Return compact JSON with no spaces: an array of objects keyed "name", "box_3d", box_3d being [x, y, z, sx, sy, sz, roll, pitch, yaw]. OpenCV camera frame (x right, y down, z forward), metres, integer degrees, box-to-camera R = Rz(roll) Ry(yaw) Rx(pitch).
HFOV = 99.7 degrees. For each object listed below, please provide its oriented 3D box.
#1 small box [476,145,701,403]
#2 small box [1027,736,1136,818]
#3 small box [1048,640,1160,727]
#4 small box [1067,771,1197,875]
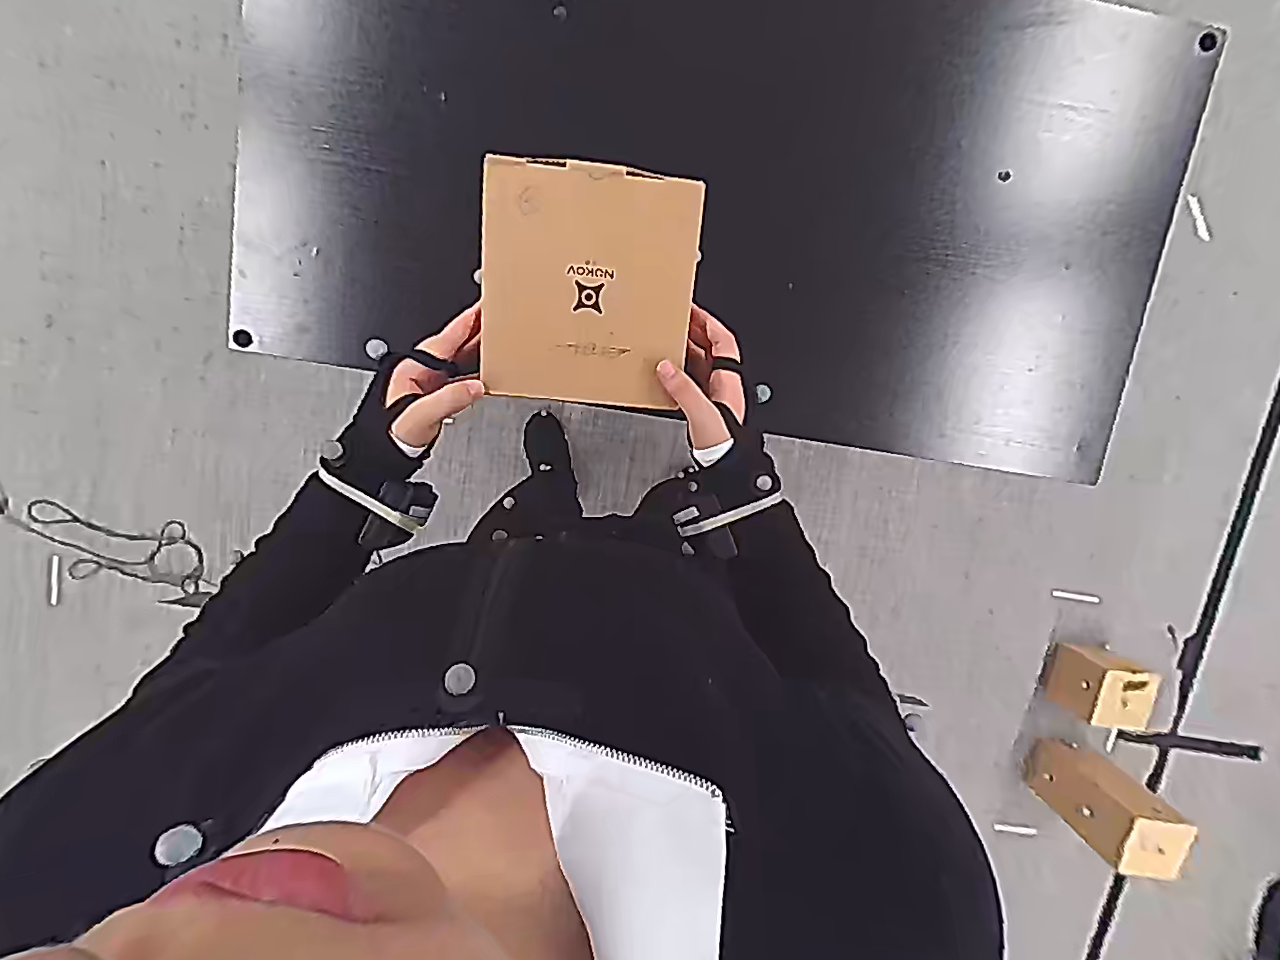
[{"name":"small box","box_3d":[-0.049,-0.176,0.497,0.168,0.176,0.179,4,106,-5]},{"name":"small box","box_3d":[1.330,0.905,1.641,0.179,0.176,0.168,9,98,-4]},{"name":"small box","box_3d":[1.347,0.589,1.584,0.168,0.176,0.179,7,100,-4]},{"name":"small box","box_3d":[1.332,0.928,1.476,0.179,0.176,0.168,10,99,-4]}]
